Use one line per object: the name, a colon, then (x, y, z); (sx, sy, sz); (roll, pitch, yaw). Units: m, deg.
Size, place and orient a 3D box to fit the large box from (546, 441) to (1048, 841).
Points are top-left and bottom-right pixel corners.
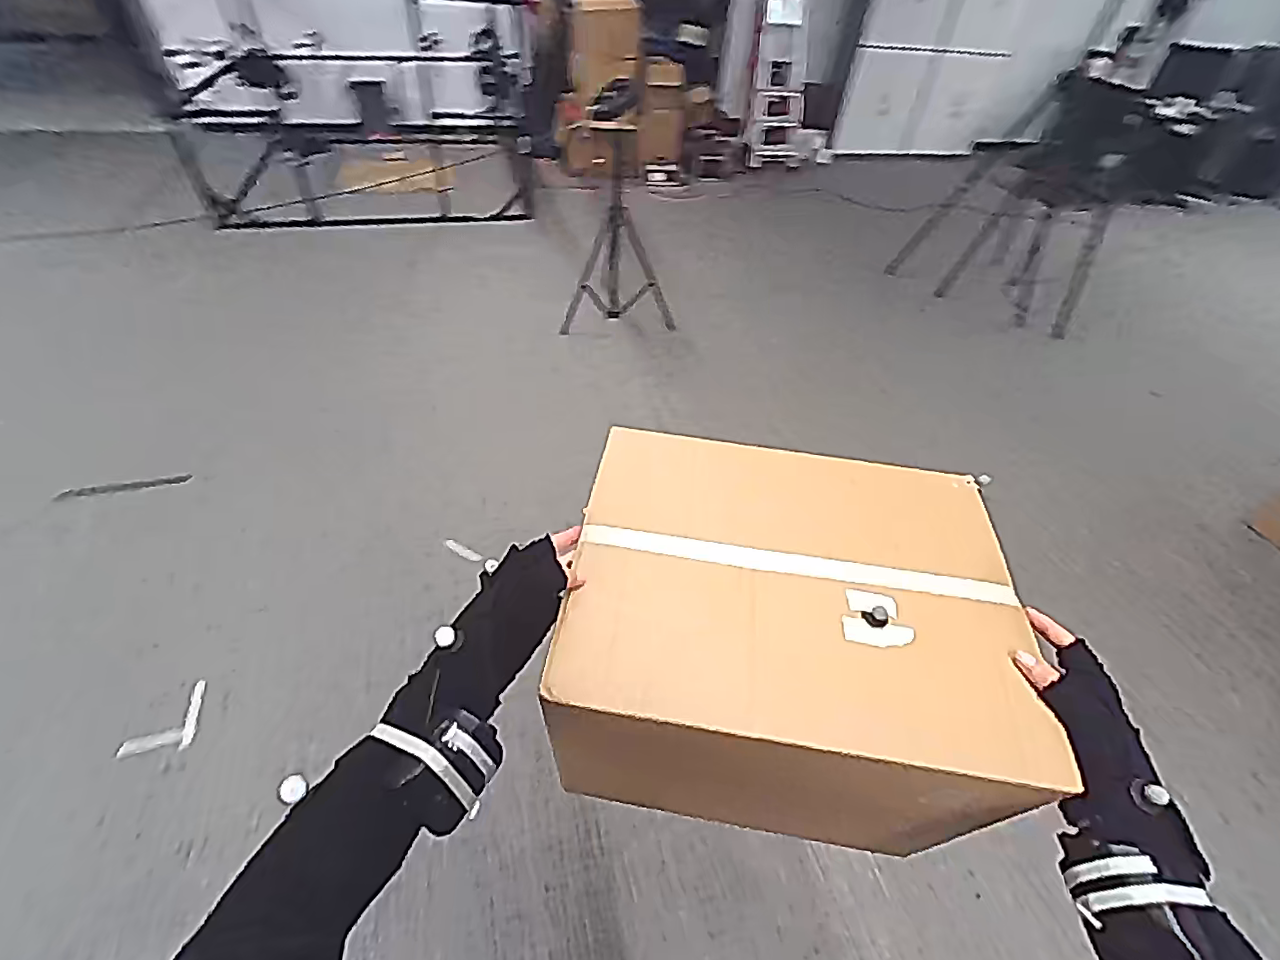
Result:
large box: (0.127, 0.188, 0.630); (0.408, 0.320, 0.320); (8, 49, 3)
